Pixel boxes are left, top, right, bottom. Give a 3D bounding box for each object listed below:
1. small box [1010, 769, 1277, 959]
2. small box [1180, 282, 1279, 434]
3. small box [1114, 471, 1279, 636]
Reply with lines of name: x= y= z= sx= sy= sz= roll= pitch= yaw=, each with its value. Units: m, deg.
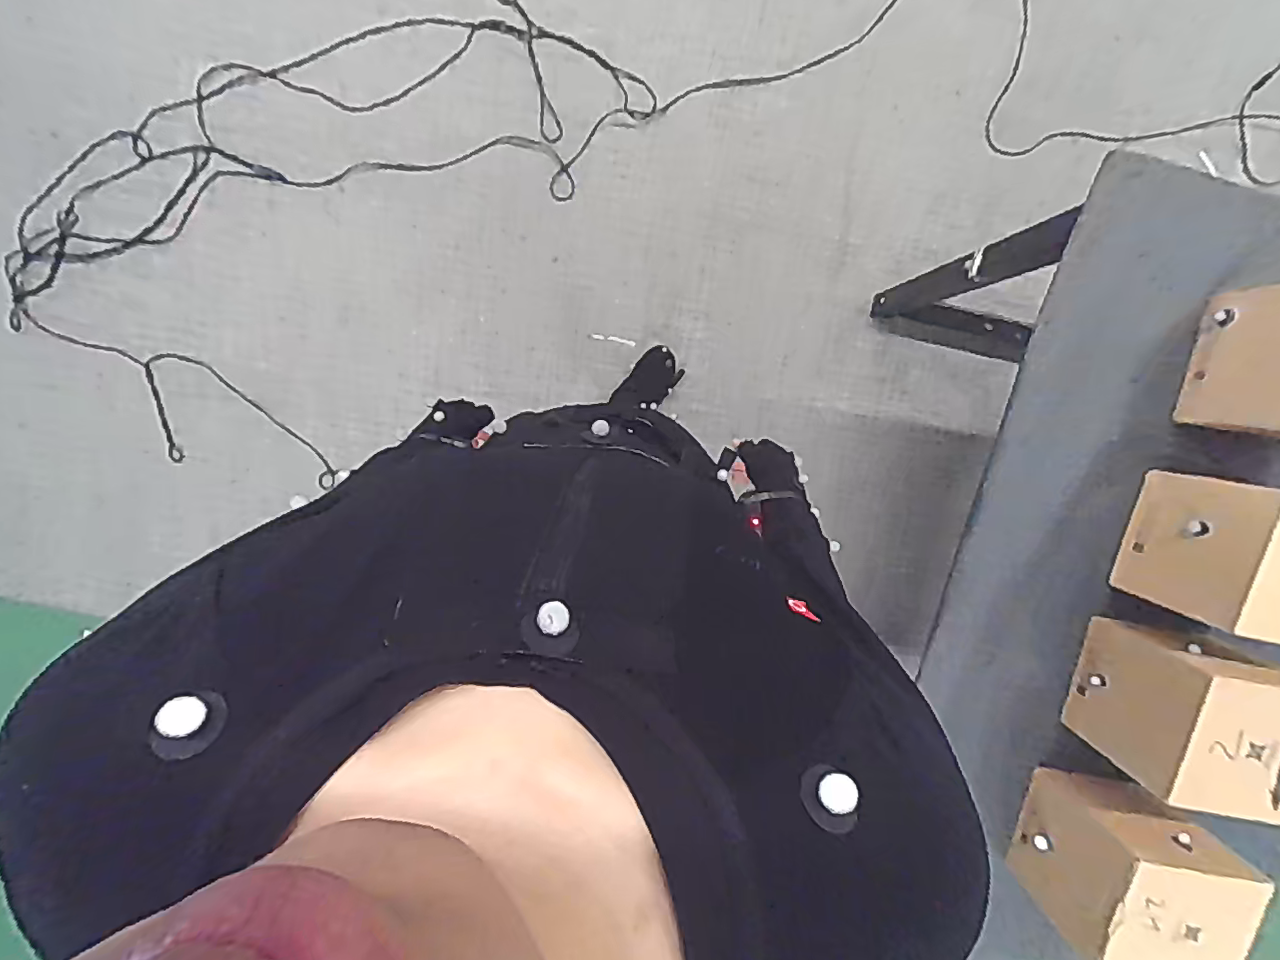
small box: x=0.656 y=0.524 z=0.729 sx=0.179 sy=0.176 sz=0.168 roll=11 pitch=98 yaw=-2
small box: x=0.804 y=-0.138 z=0.628 sx=0.179 sy=0.176 sz=0.168 roll=8 pitch=99 yaw=-3
small box: x=0.751 y=0.089 z=0.665 sx=0.179 sy=0.176 sz=0.168 roll=11 pitch=99 yaw=-3
